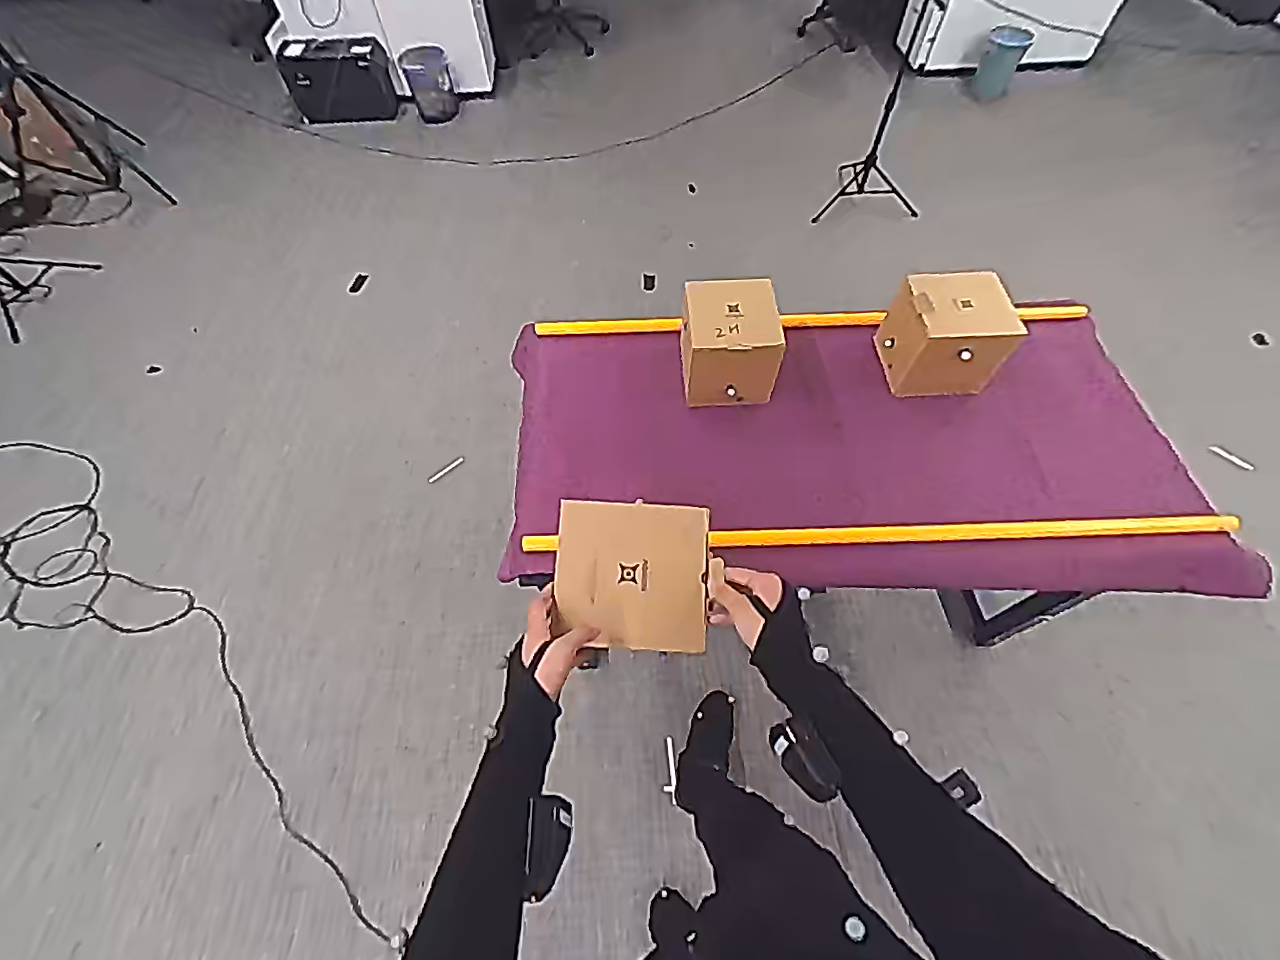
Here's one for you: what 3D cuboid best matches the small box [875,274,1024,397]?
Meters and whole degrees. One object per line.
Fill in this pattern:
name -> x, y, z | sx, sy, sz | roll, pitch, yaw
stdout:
small box -> 0.592, -0.278, 1.060 | 0.179, 0.176, 0.168 | -2, 60, 0

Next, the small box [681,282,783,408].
small box -> 0.169, -0.261, 1.058 | 0.168, 0.176, 0.179 | -2, 60, 0

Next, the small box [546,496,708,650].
small box -> -0.014, 0.124, 0.691 | 0.179, 0.176, 0.168 | 3, 74, 0
